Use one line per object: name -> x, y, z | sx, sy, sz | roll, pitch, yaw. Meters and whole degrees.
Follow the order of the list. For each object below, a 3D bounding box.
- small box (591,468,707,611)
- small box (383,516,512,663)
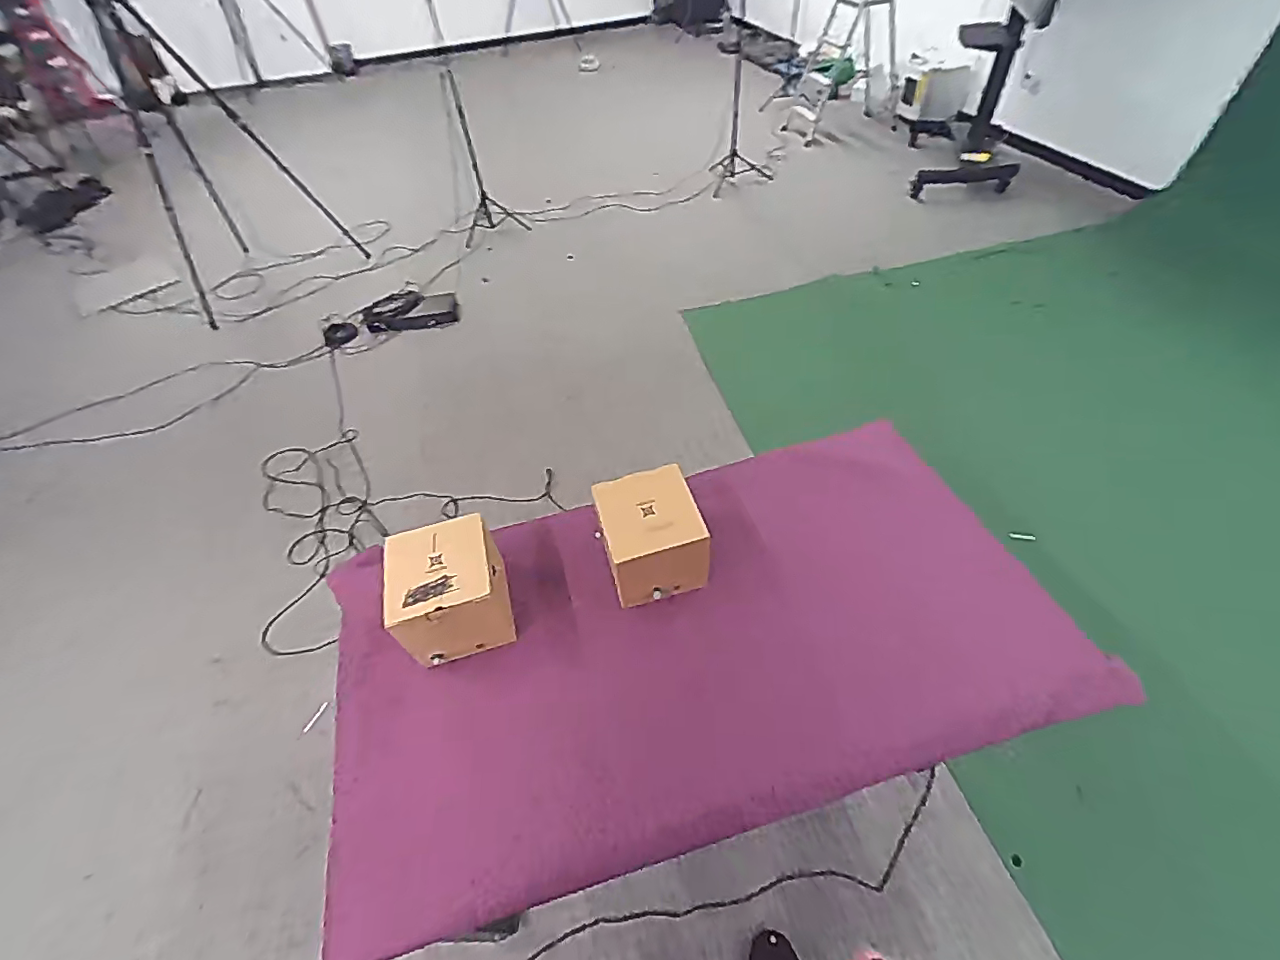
small box -> 0.015, 0.110, 0.989 | 0.168, 0.176, 0.179 | -15, 50, -7
small box -> -0.329, 0.197, 0.941 | 0.168, 0.176, 0.179 | -15, 49, -9
